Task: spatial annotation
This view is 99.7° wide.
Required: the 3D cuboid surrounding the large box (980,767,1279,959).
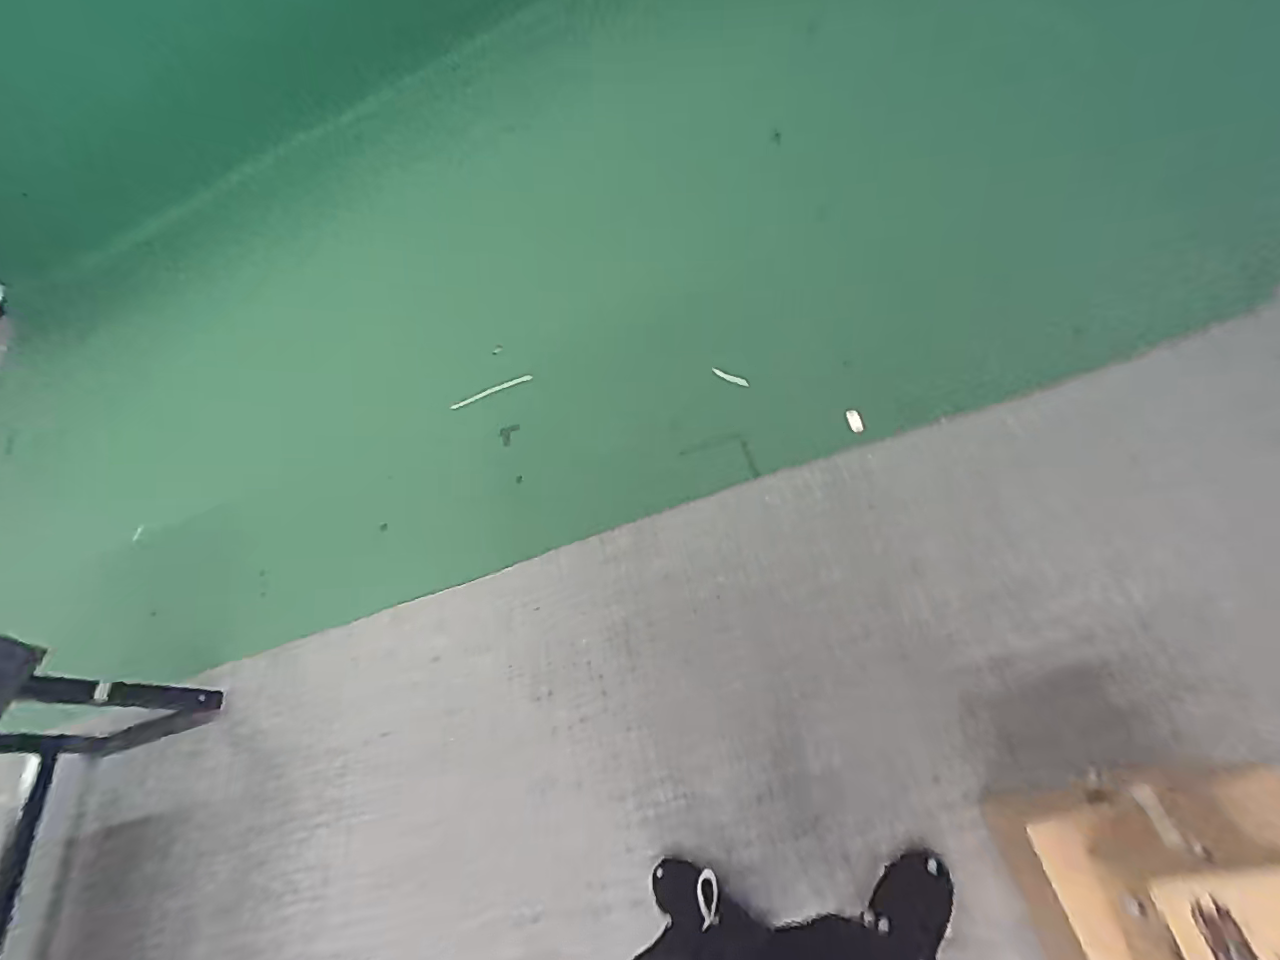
[{"bbox_3d":[0.754,0.653,0.736,0.320,0.320,0.408,-21,60,11],"label":"large box"}]
